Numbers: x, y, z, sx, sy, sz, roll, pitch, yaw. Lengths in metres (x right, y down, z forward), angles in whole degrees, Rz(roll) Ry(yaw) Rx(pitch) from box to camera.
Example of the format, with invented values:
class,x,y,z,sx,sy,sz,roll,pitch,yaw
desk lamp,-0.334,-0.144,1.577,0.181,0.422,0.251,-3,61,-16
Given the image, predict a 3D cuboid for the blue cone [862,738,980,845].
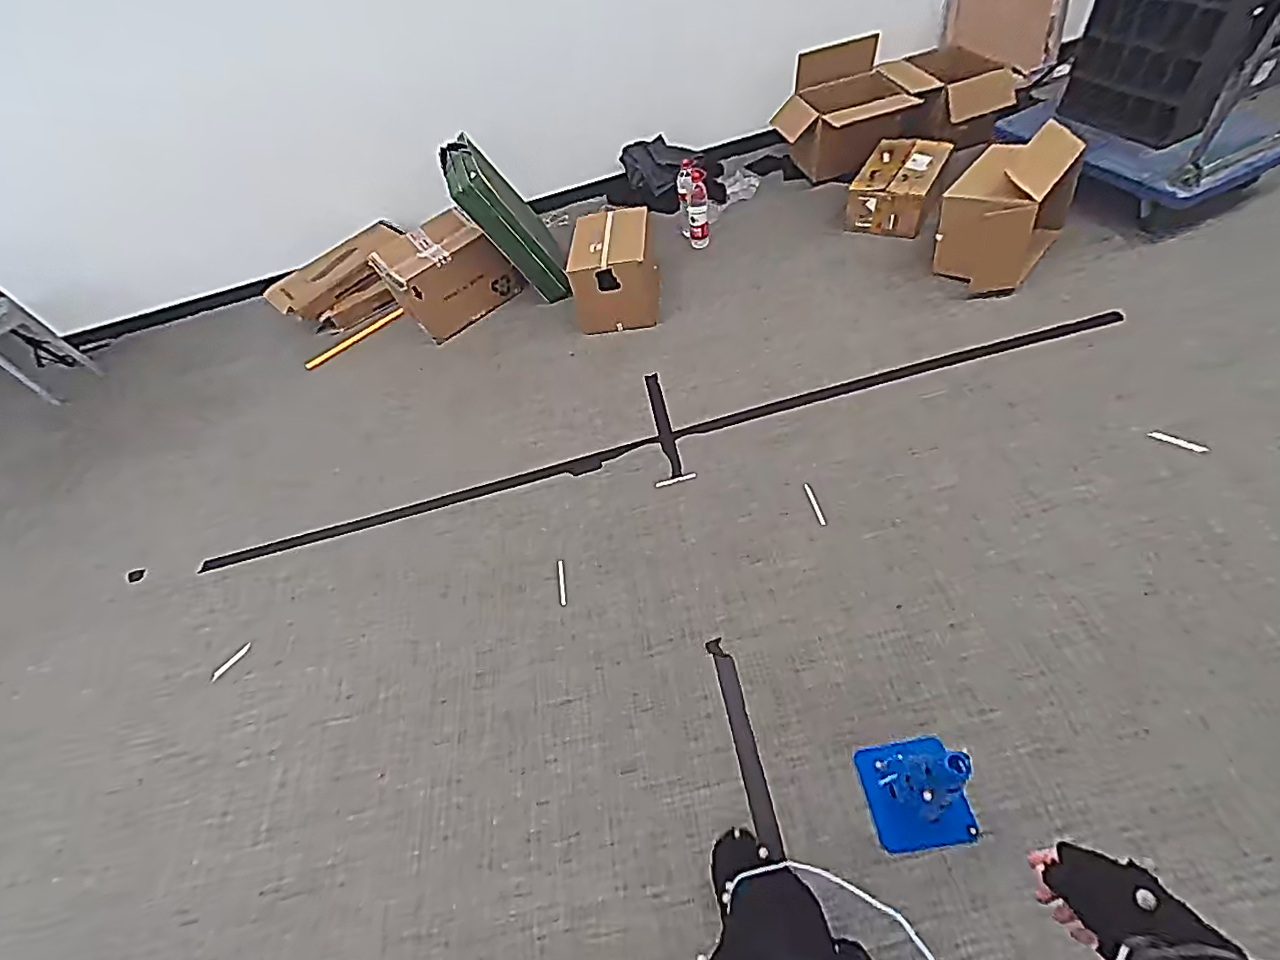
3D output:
class,x,y,z,sx,sy,sz,roll,pitch,yaw
blue cone,0.563,0.571,1.034,0.192,0.380,0.193,-11,52,5
